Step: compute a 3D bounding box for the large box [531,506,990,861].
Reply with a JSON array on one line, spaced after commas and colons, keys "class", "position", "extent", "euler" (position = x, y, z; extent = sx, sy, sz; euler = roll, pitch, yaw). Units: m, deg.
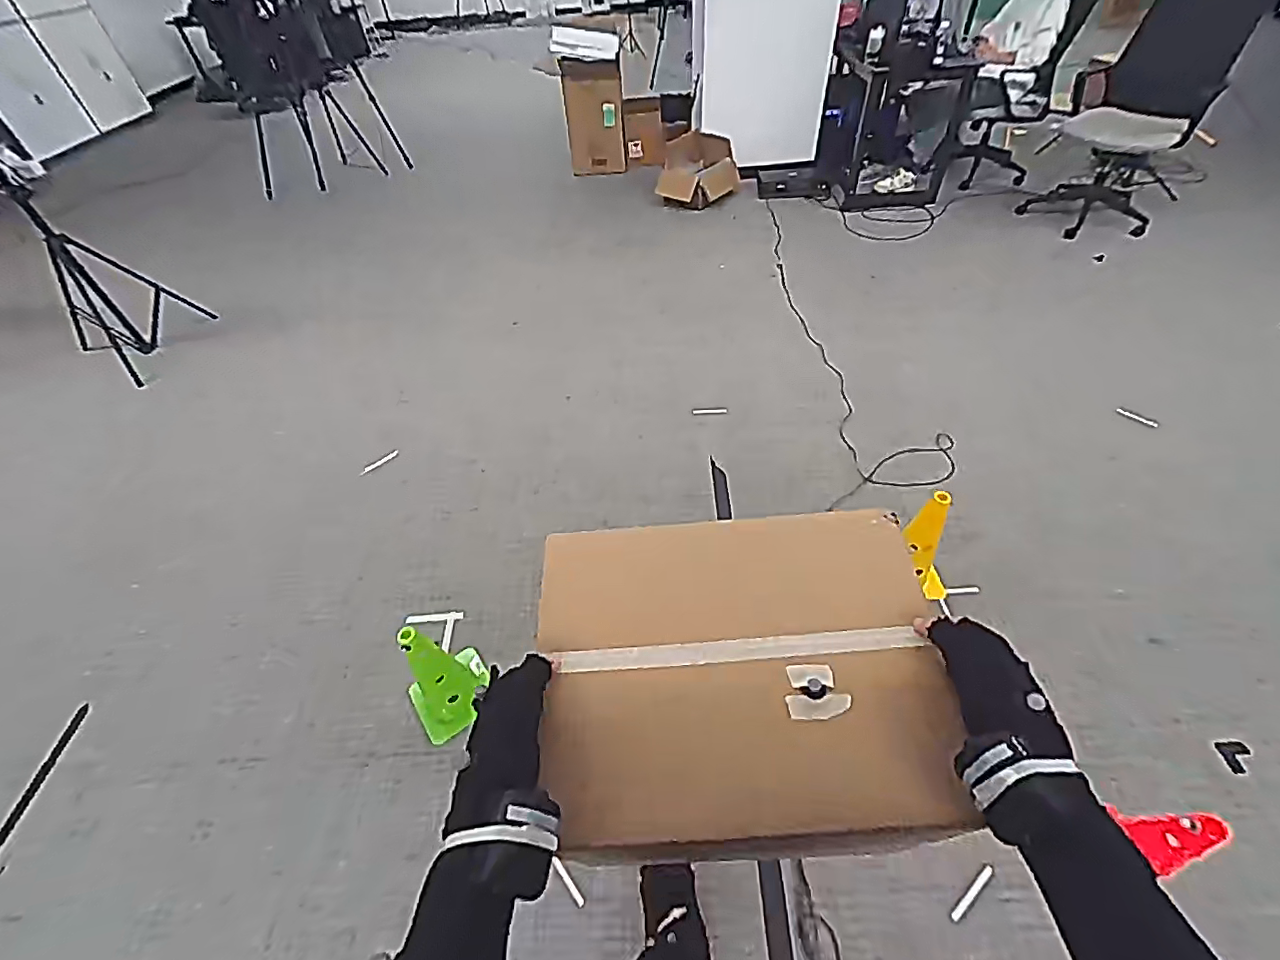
[{"class": "large box", "position": [0.104, 0.260, 0.669], "extent": [0.408, 0.320, 0.320], "euler": [-5, 52, 2]}]

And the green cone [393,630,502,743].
[{"class": "green cone", "position": [-0.519, 0.470, 1.354], "extent": [0.202, 0.368, 0.200], "euler": [-33, 52, -21]}]
